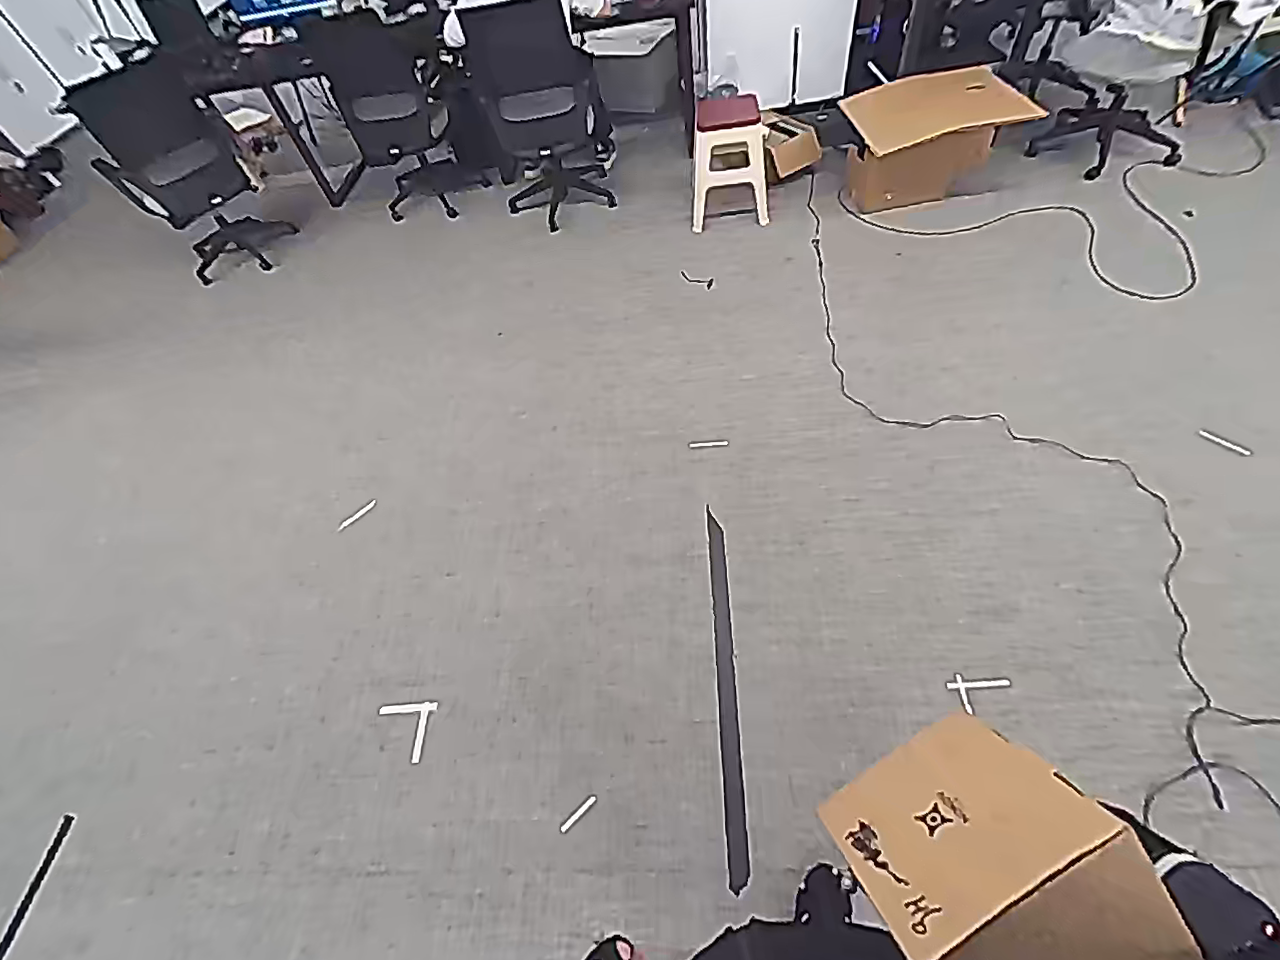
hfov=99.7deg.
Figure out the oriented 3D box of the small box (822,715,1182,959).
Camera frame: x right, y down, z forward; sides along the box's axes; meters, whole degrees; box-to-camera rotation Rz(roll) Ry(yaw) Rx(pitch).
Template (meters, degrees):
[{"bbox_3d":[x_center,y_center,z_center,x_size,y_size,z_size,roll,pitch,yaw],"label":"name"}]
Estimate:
[{"bbox_3d":[0.298,0.350,0.460,0.179,0.168,0.176,-32,95,-3],"label":"small box"}]
